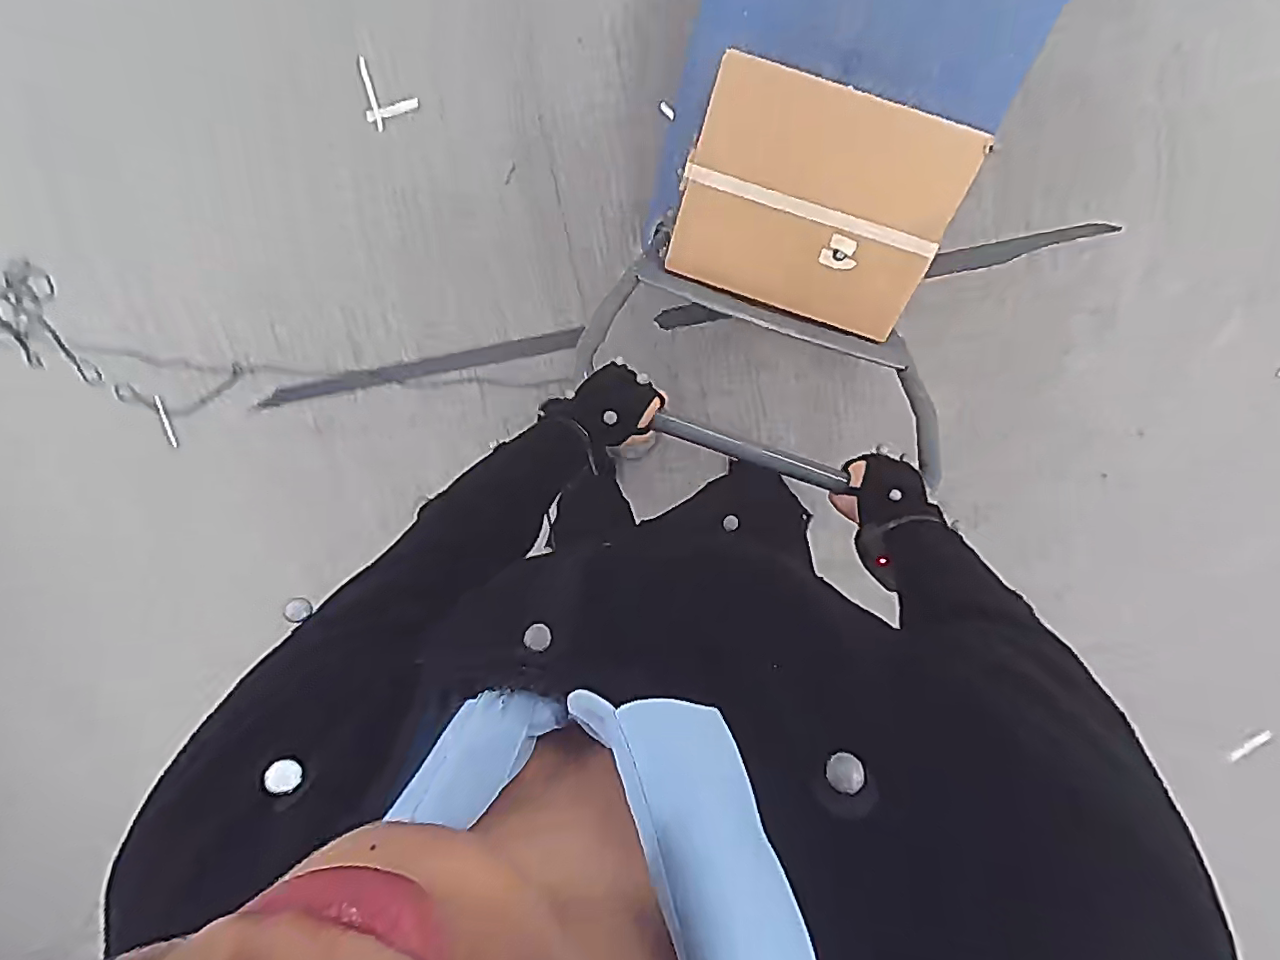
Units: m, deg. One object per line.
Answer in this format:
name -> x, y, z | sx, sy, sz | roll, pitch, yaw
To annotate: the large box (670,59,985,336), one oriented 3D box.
large box -> 0.300, -0.509, 0.989 | 0.408, 0.320, 0.320 | 19, 124, 0
